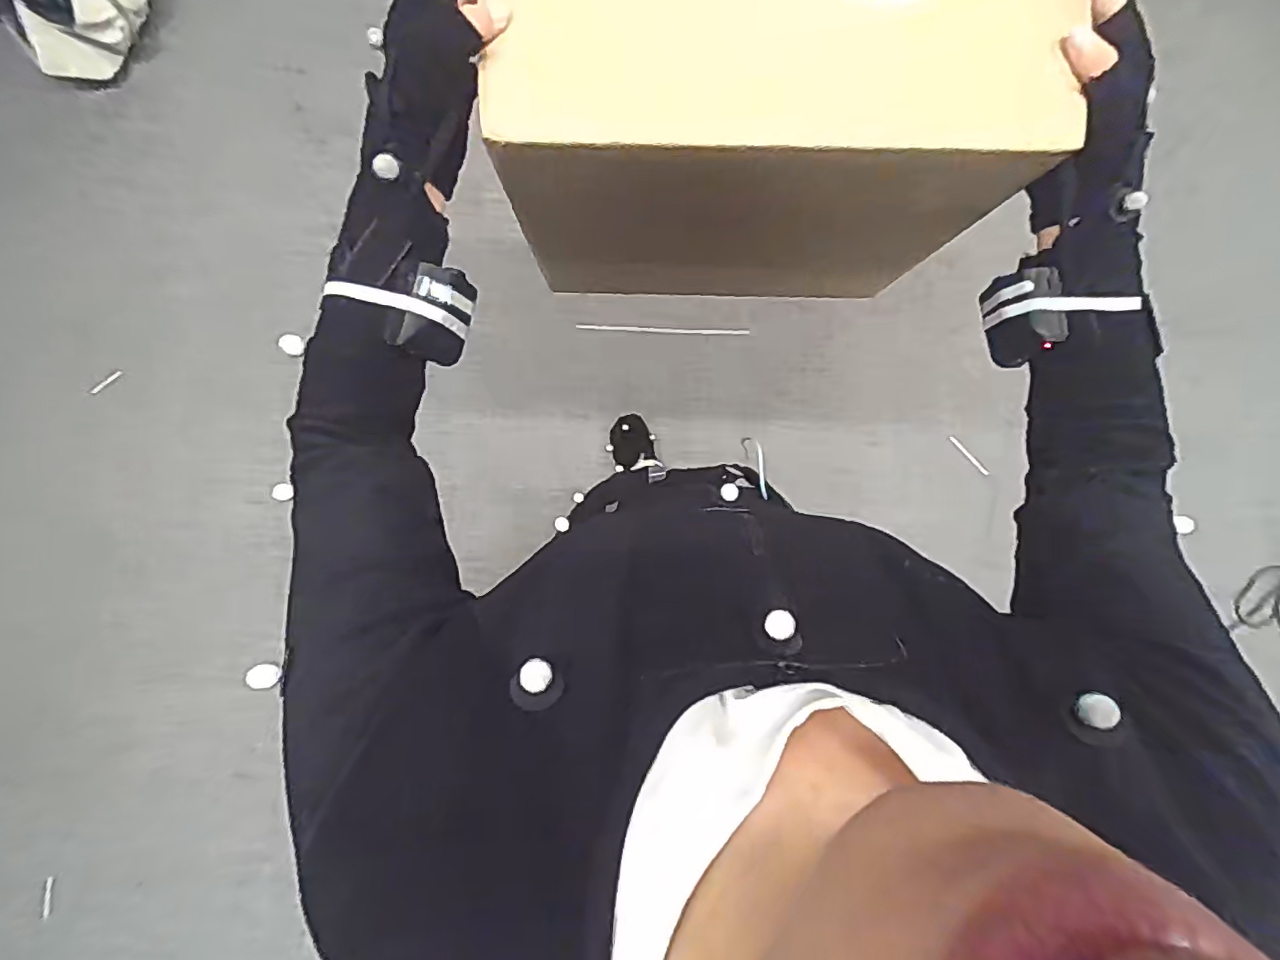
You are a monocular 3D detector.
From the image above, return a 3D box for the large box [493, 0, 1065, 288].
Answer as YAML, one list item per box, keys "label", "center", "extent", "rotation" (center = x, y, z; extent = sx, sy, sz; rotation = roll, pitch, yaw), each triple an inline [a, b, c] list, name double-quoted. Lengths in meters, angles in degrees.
- label: "large box"
  center: [0.090, -0.389, 0.519]
  extent: [0.408, 0.320, 0.320]
  rotation: [0, 91, -2]
